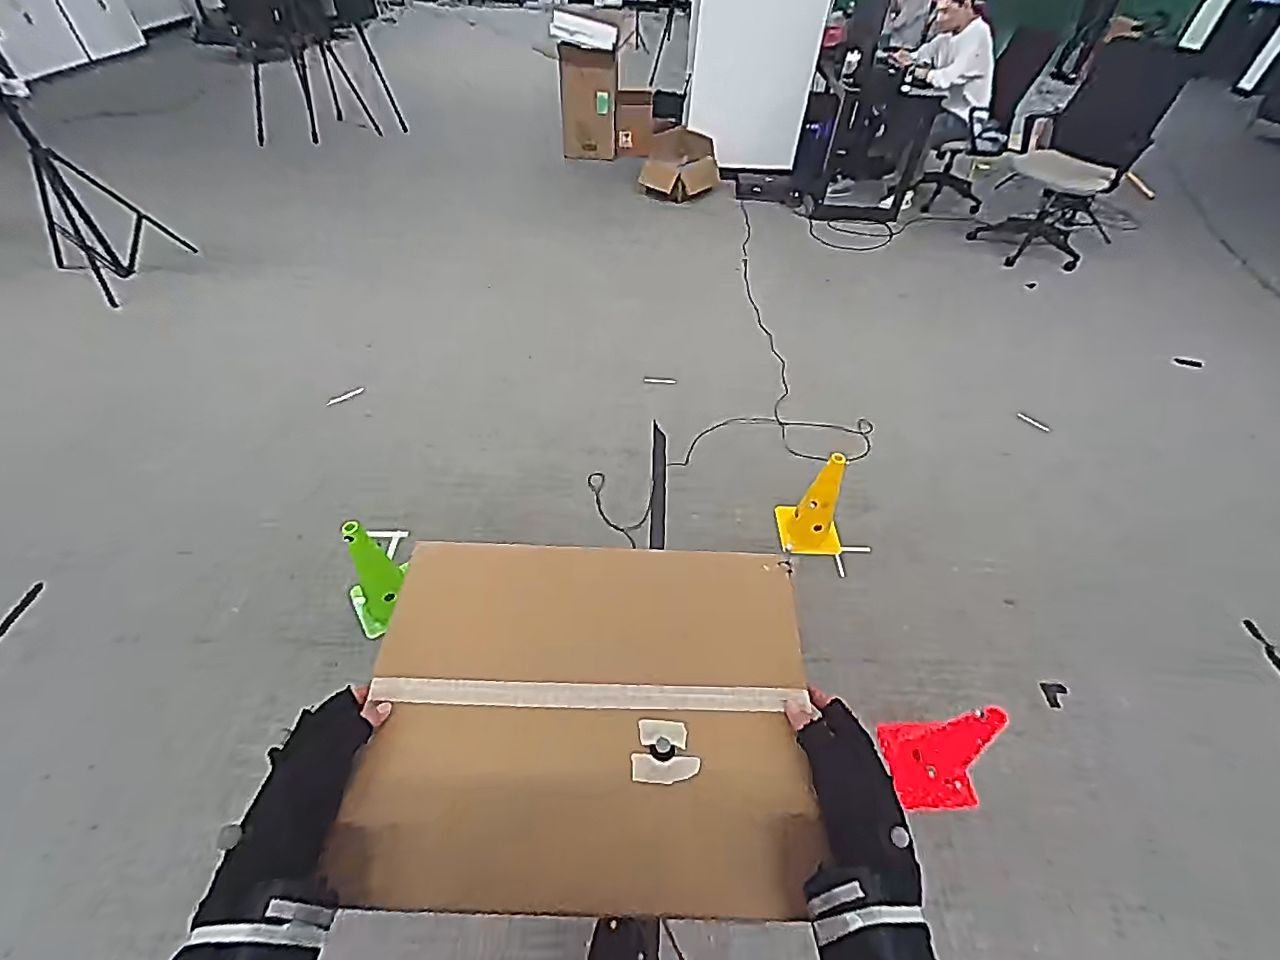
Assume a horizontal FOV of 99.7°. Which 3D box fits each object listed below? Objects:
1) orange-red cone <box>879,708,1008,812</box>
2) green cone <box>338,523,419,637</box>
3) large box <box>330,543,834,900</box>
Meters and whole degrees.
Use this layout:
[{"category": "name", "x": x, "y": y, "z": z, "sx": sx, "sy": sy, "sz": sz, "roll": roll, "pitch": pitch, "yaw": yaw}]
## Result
[{"category": "orange-red cone", "x": 0.729, "y": 0.605, "z": 1.240, "sx": 0.198, "sy": 0.360, "sz": 0.199, "roll": 2, "pitch": 46, "yaw": -3}, {"category": "green cone", "x": -0.741, "y": 0.237, "z": 1.501, "sx": 0.202, "sy": 0.368, "sz": 0.200, "roll": -28, "pitch": 54, "yaw": -23}, {"category": "large box", "x": -0.049, "y": 0.287, "z": 0.628, "sx": 0.408, "sy": 0.320, "sz": 0.320, "roll": 3, "pitch": 53, "yaw": -1}]
